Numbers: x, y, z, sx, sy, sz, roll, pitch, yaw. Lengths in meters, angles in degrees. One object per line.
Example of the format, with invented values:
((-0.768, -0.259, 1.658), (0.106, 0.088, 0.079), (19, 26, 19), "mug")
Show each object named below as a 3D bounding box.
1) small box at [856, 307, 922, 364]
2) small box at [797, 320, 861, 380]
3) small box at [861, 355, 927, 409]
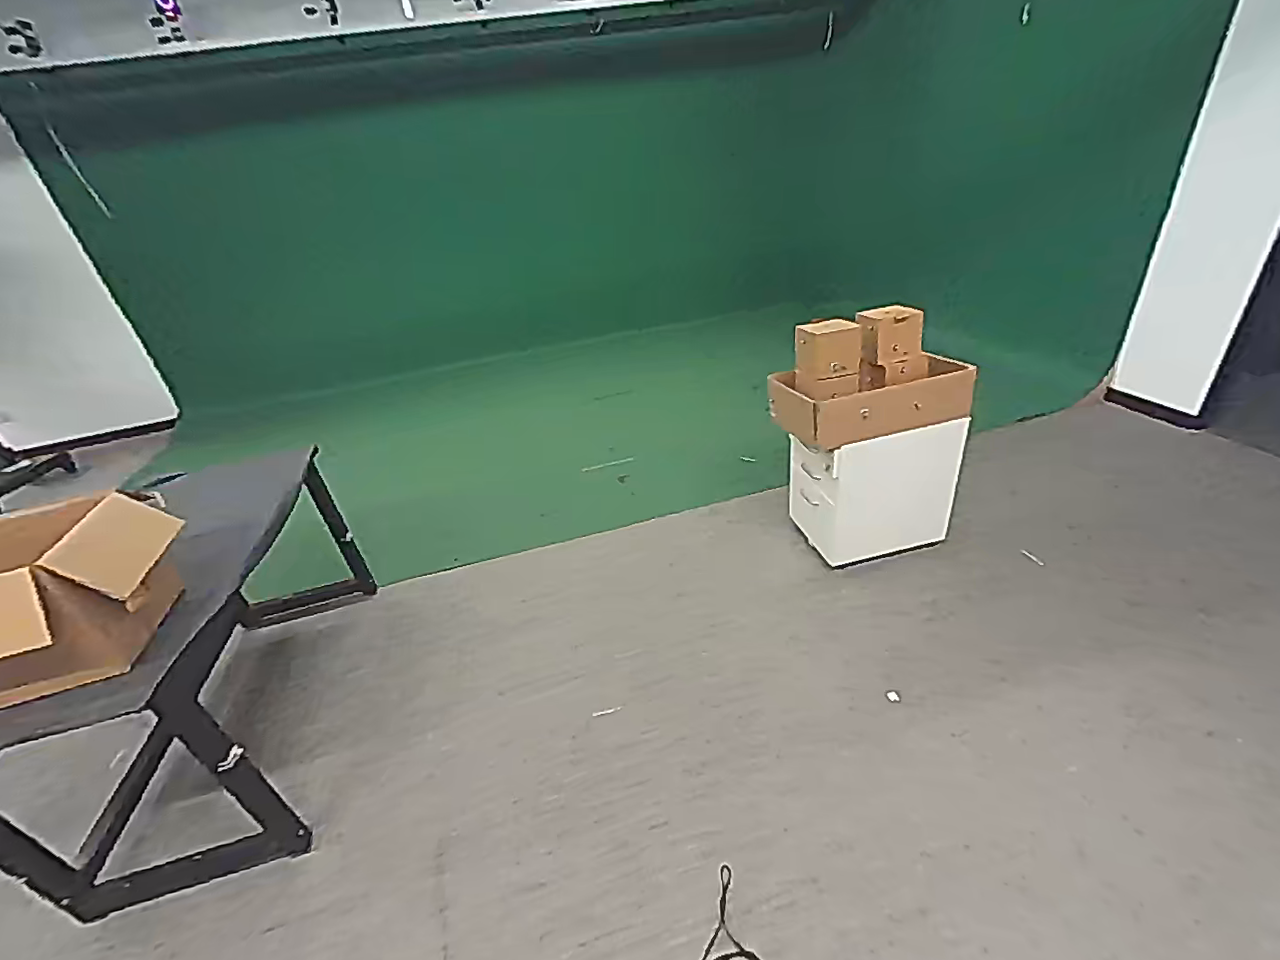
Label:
((0.918, -0.537, 2.009), (0.168, 0.176, 0.179), (-11, 26, -2), "small box")
((0.678, -0.471, 1.955), (0.168, 0.176, 0.179), (-12, 26, -5), "small box")
((0.958, -0.382, 2.052), (0.168, 0.176, 0.179), (-14, 25, -5), "small box")
